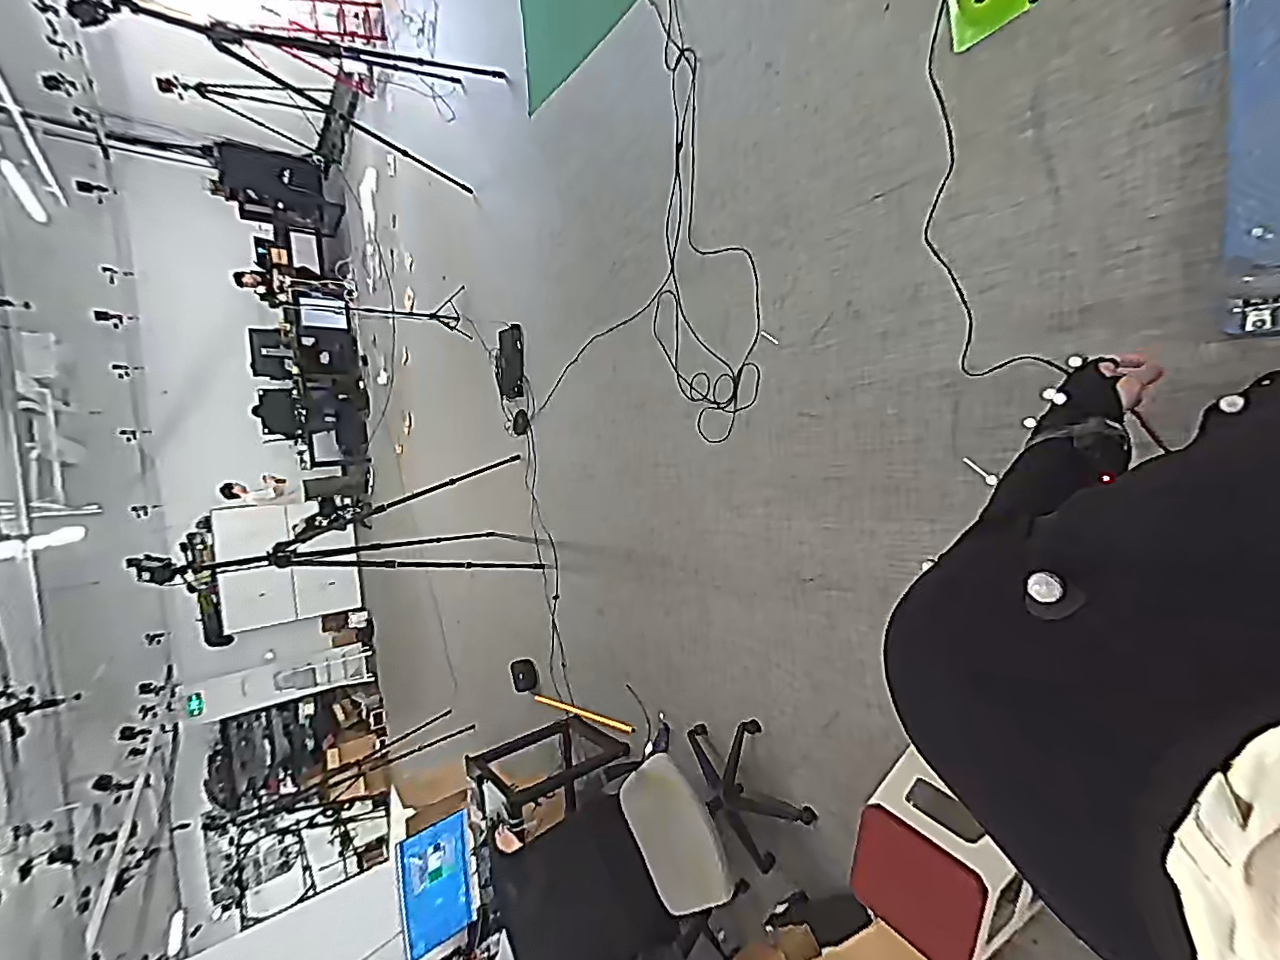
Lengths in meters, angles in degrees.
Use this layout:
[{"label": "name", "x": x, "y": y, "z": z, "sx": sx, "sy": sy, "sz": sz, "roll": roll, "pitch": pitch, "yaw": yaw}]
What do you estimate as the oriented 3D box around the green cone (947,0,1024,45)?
[{"label": "green cone", "x": 0.760, "y": -1.260, "z": 1.288, "sx": 0.202, "sy": 0.368, "sz": 0.200, "roll": -8, "pitch": 89, "yaw": 54}]
